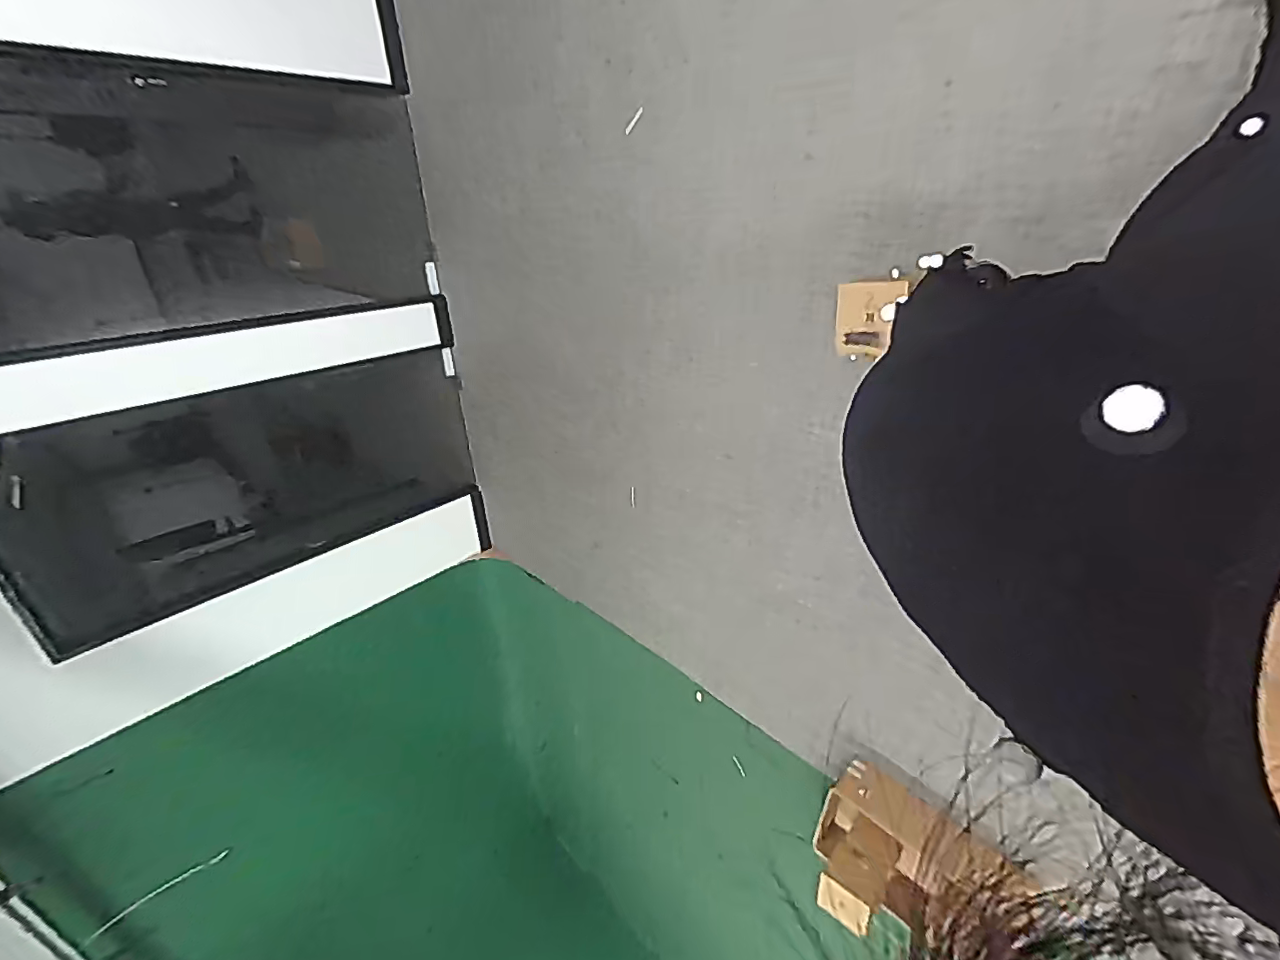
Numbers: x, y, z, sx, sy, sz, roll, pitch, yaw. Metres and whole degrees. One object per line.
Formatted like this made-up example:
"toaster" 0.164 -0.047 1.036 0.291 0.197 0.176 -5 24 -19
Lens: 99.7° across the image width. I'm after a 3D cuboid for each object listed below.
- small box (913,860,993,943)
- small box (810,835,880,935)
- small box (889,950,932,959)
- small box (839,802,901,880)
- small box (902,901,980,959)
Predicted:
"small box" 1.021 1.403 1.762 0.168 0.176 0.179 23 125 39
"small box" 0.702 1.373 1.844 0.168 0.176 0.179 18 120 39
"small box" 0.795 1.495 1.545 0.168 0.176 0.179 44 137 24
"small box" 0.813 1.321 1.951 0.168 0.176 0.179 29 128 34
"small box" 0.910 1.449 1.650 0.168 0.176 0.179 26 127 39
